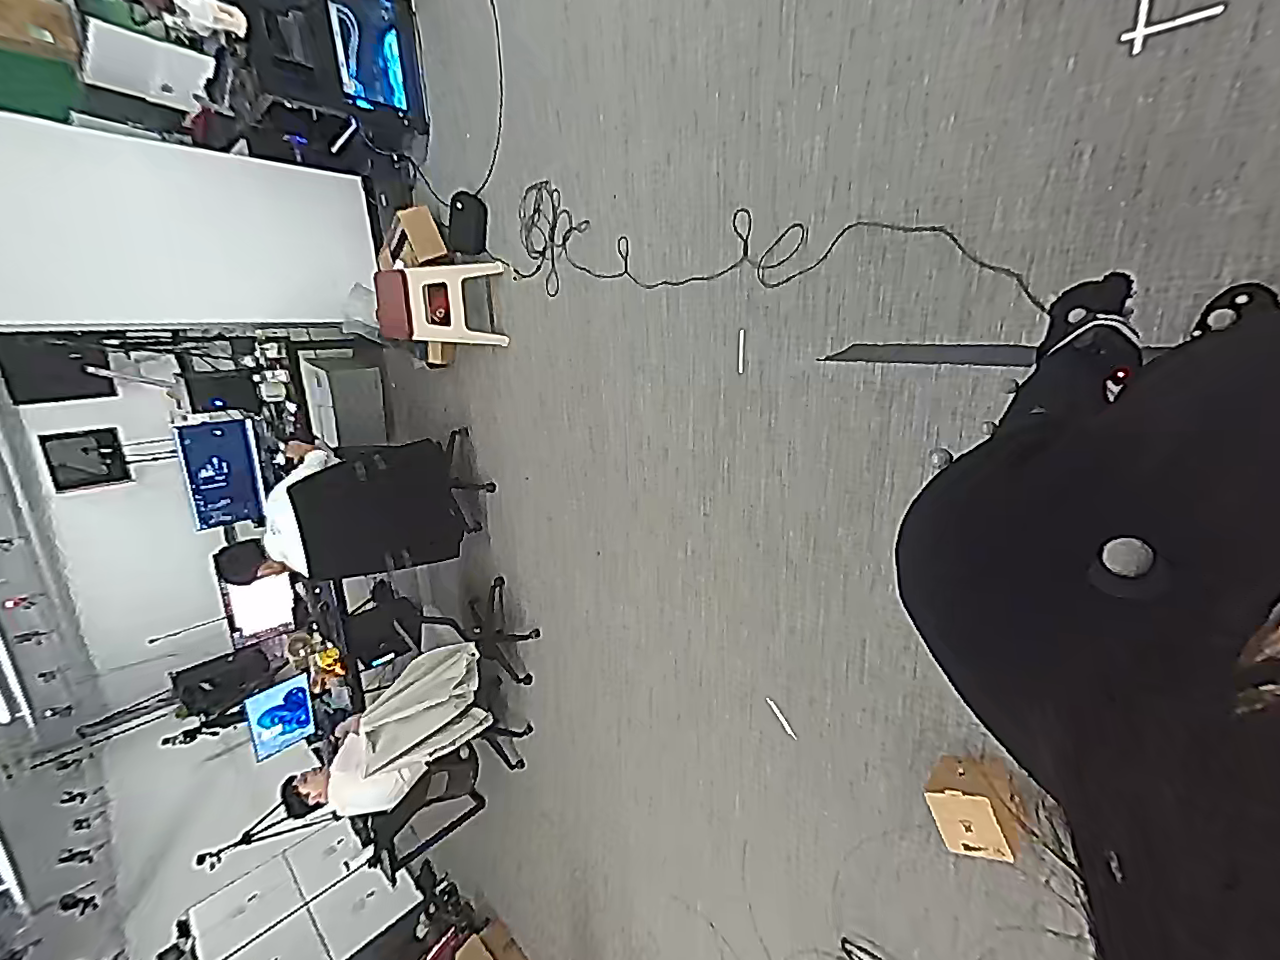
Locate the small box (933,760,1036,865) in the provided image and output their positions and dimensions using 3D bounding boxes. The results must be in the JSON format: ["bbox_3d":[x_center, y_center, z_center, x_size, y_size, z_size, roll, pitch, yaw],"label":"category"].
[{"bbox_3d":[0.930,0.883,1.457,0.168,0.176,0.179,-27,82,46],"label":"small box"}]
